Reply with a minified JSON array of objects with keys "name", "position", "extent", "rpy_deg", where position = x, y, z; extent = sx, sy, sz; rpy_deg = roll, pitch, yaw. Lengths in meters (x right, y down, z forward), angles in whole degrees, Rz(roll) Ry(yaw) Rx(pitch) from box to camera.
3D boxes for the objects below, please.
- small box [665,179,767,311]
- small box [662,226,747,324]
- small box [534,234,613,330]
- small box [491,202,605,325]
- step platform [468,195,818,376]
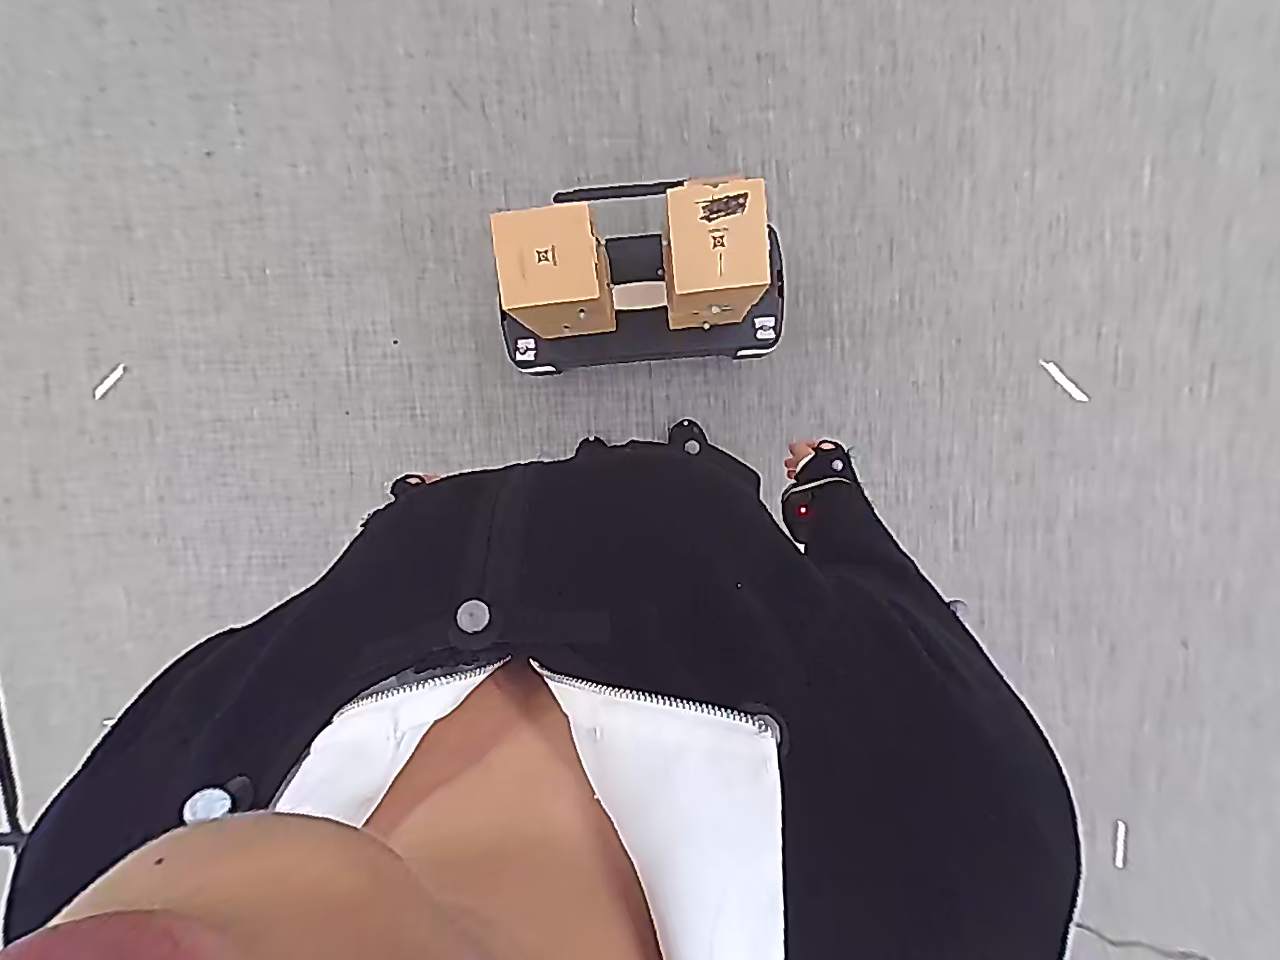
[{"name":"small box","position":[0.135,-0.425,1.003],"extent":[0.168,0.176,0.179],"rpy_deg":[-5,97,4]},{"name":"small box","position":[0.133,-0.439,1.167],"extent":[0.168,0.176,0.179],"rpy_deg":[-5,96,4]},{"name":"small box","position":[-0.156,-0.417,1.182],"extent":[0.179,0.176,0.168],"rpy_deg":[-6,96,3]},{"name":"small box","position":[-0.162,-0.398,1.019],"extent":[0.179,0.176,0.168],"rpy_deg":[-7,95,3]},{"name":"step platform","position":[0.004,-0.389,1.142],"extent":[0.684,0.204,0.286],"rpy_deg":[-4,96,2]}]
